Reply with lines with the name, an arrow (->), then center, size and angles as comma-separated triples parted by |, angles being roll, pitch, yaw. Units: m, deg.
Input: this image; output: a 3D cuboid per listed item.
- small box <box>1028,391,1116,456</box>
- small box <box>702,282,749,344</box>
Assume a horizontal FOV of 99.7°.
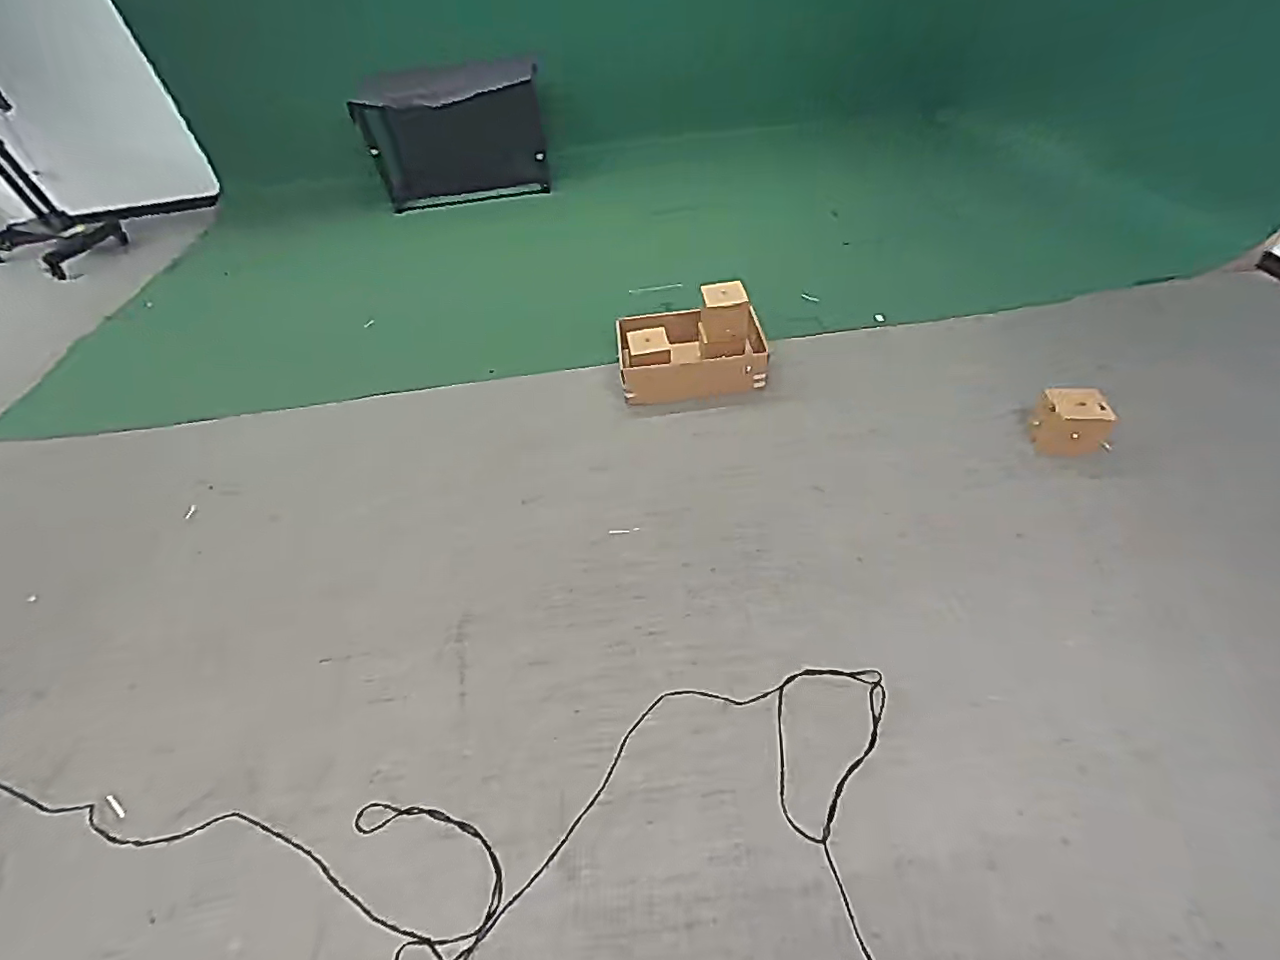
small box -> 1.518, -0.200, 1.919 | 0.179, 0.176, 0.168 | 0, 48, 9
small box -> 0.344, -0.682, 2.212 | 0.168, 0.176, 0.179 | -8, 48, 1
